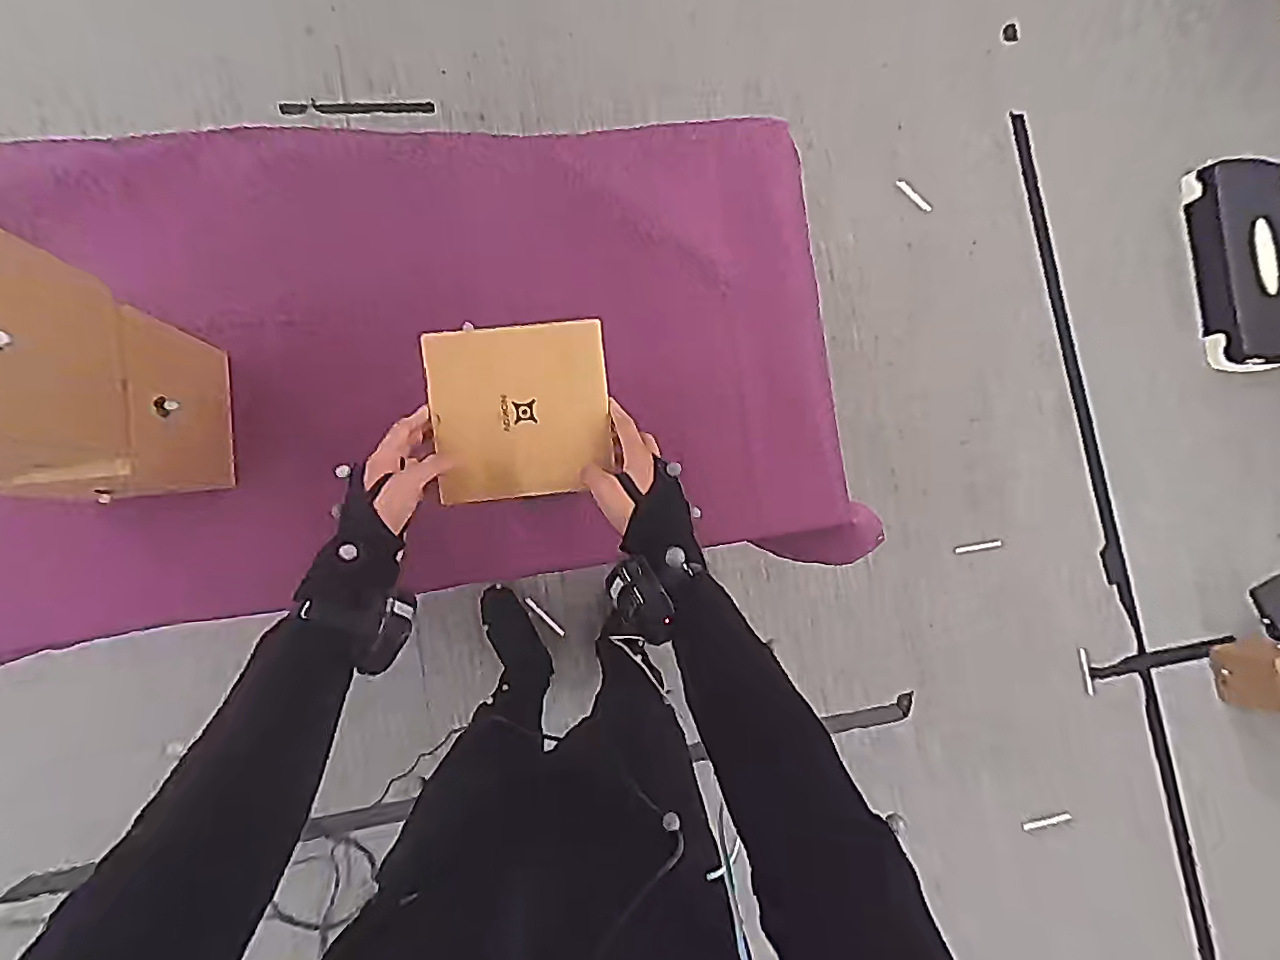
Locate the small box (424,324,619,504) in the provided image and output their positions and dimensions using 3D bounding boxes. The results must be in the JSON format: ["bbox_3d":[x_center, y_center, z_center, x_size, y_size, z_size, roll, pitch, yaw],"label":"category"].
[{"bbox_3d":[-0.117,-0.069,0.605,0.179,0.176,0.168,-6,93,-1],"label":"small box"}]

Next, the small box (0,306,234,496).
[{"bbox_3d":[-0.585,-0.075,0.598,0.168,0.176,0.179,-5,85,-8],"label":"small box"}]

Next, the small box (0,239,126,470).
[{"bbox_3d":[-0.570,-0.100,0.436,0.168,0.176,0.179,-9,86,-8],"label":"small box"}]
